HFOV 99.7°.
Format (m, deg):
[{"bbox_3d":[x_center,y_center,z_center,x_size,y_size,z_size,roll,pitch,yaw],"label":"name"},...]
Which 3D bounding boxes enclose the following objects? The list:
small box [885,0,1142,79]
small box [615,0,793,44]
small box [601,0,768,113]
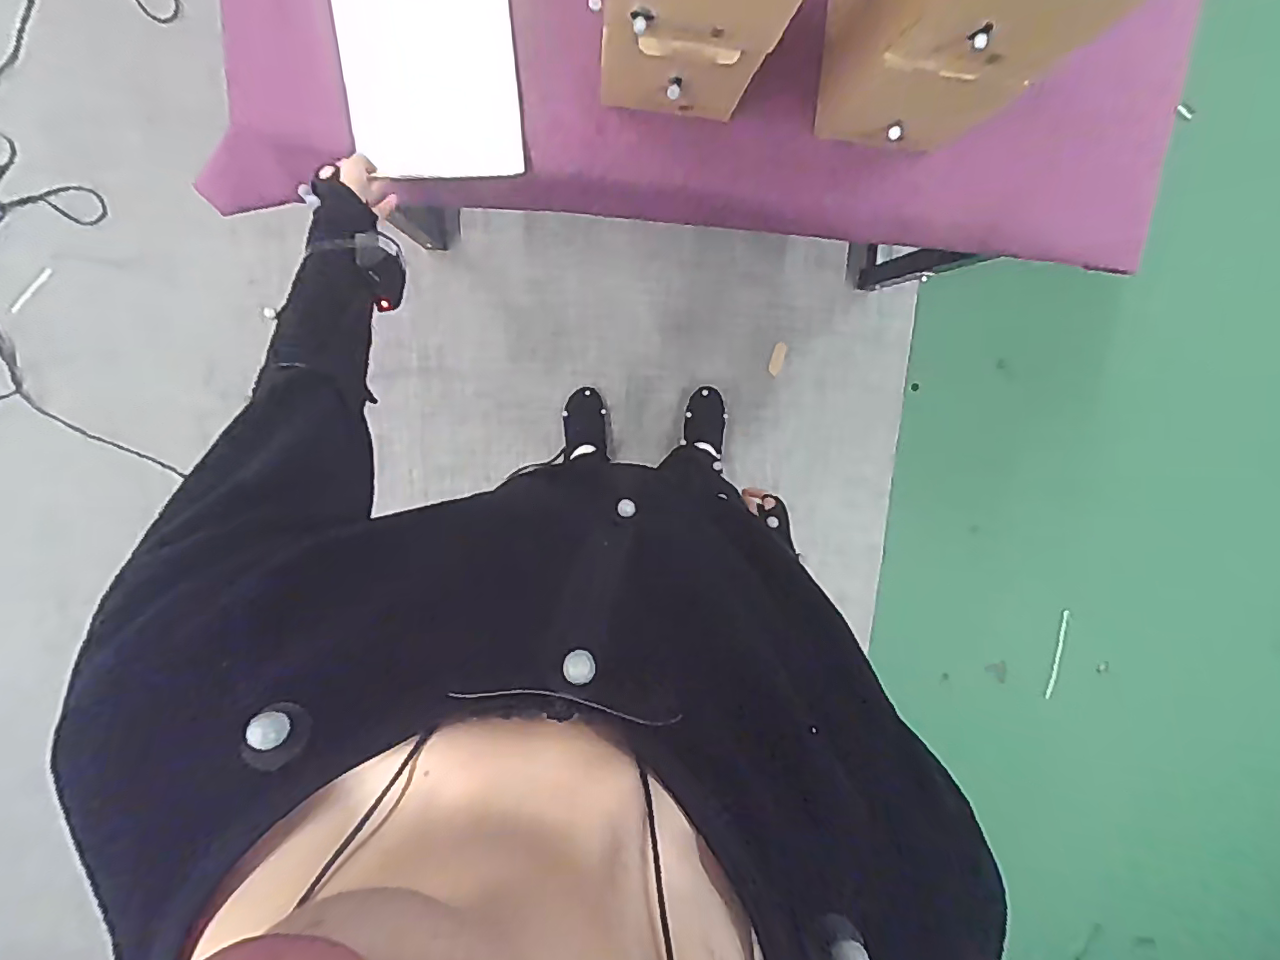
[{"bbox_3d":[0.334,-0.488,0.456,0.168,0.176,0.179,3,101,-7],"label":"small box"},{"bbox_3d":[0.063,-0.492,0.426,0.168,0.176,0.179,3,101,-7],"label":"small box"},{"bbox_3d":[0.046,-0.532,0.585,0.168,0.176,0.179,3,102,-7],"label":"small box"}]
